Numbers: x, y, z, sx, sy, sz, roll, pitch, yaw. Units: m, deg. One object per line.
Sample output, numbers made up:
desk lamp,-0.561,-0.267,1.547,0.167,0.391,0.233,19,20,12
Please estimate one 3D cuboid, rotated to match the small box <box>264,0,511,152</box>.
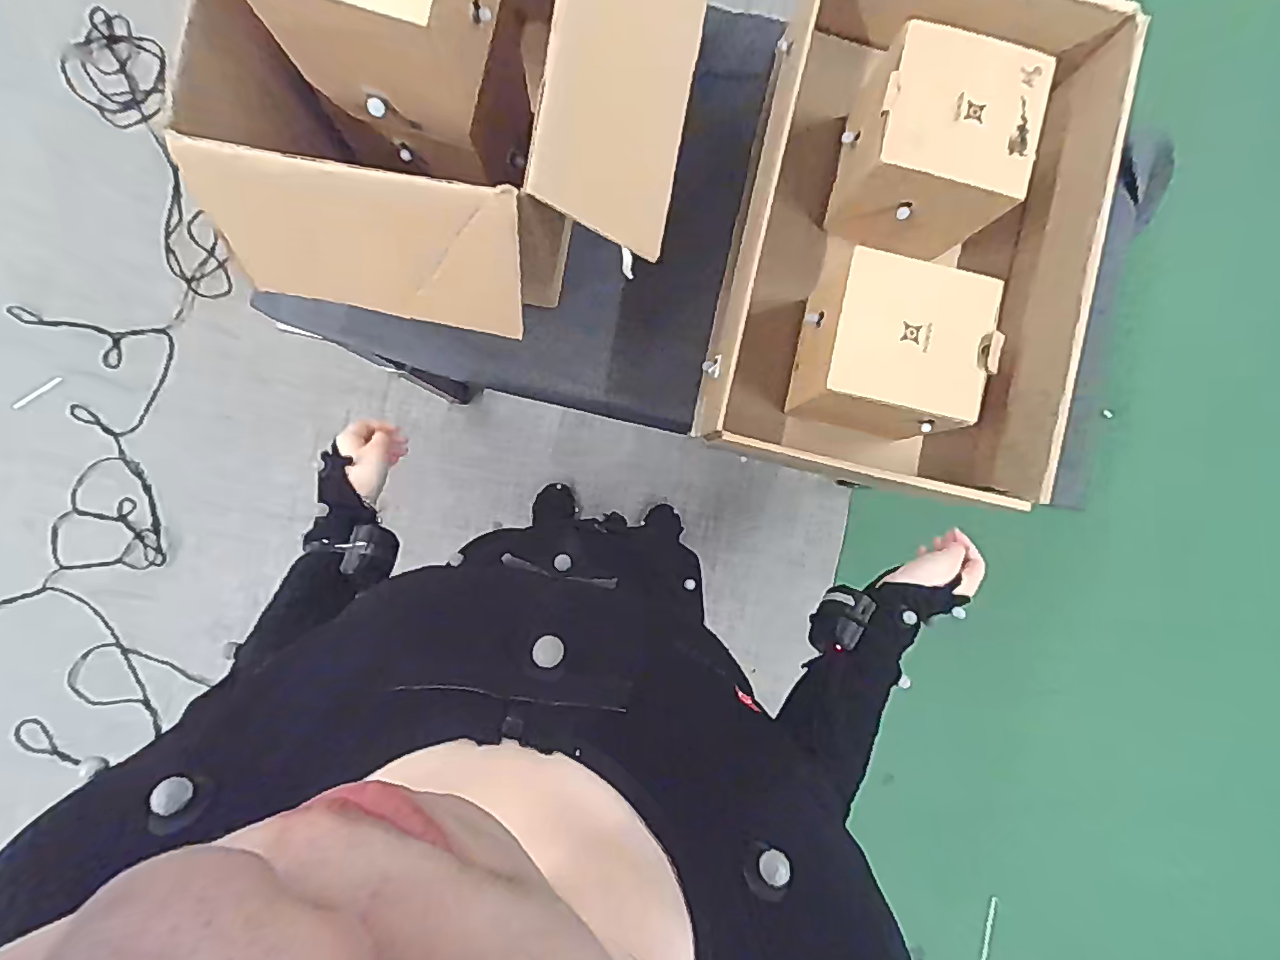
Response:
small box,-0.230,-0.463,0.515,0.168,0.176,0.179,14,90,-4
